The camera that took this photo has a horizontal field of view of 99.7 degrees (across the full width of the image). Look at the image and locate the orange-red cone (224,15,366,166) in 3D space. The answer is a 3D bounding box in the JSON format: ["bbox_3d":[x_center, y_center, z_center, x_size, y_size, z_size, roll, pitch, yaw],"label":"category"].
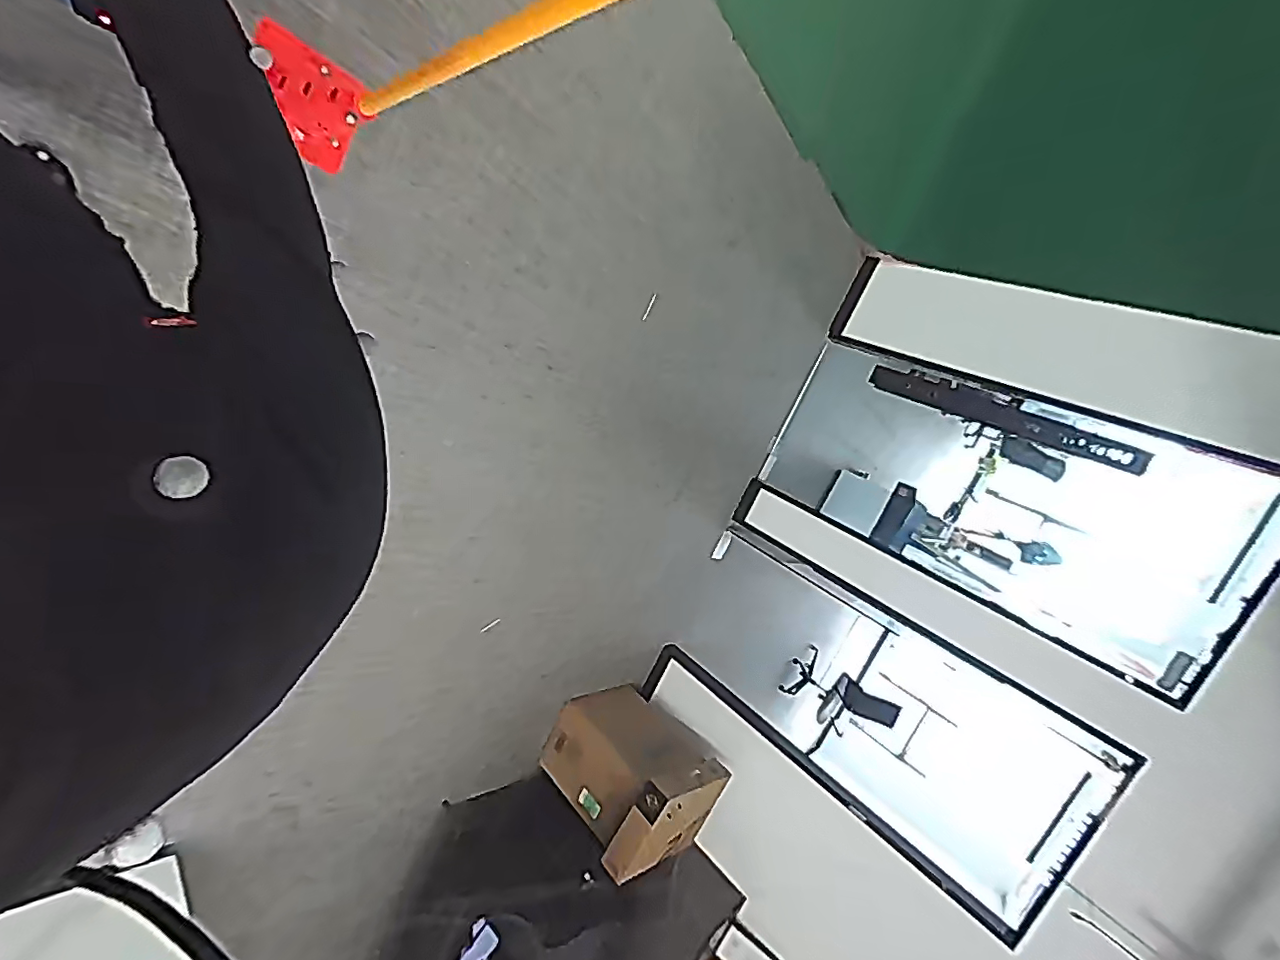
[{"bbox_3d":[-0.596,-0.715,1.005,0.199,0.360,0.198,16,102,-52],"label":"orange-red cone"}]
